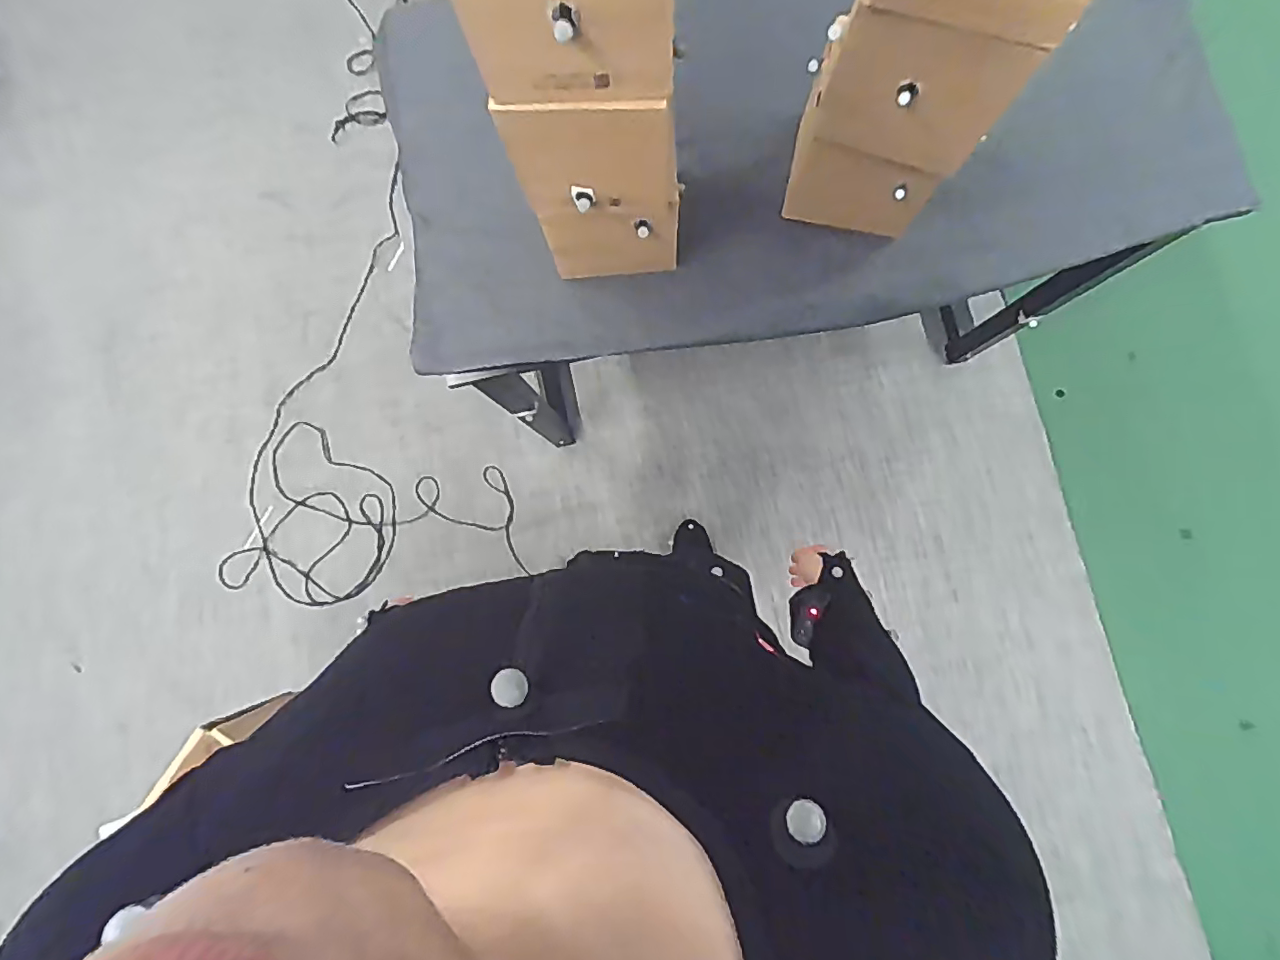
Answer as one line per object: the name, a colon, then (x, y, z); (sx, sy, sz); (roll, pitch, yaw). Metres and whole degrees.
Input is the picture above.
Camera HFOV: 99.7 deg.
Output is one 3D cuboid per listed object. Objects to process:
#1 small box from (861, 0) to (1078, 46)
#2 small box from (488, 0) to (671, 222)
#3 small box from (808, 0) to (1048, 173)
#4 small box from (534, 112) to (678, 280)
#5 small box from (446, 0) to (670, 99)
small box: (0.290, -0.479, 0.405); (0.179, 0.176, 0.168); (17, 84, 4)
small box: (-0.051, -0.407, 0.580); (0.168, 0.176, 0.179); (1, 85, 4)
small box: (0.301, -0.462, 0.566); (0.179, 0.176, 0.168); (19, 84, 5)
small box: (-0.043, -0.393, 0.742); (0.179, 0.176, 0.168); (-4, 83, 3)
small box: (-0.060, -0.431, 0.418); (0.168, 0.176, 0.179); (0, 84, 4)
